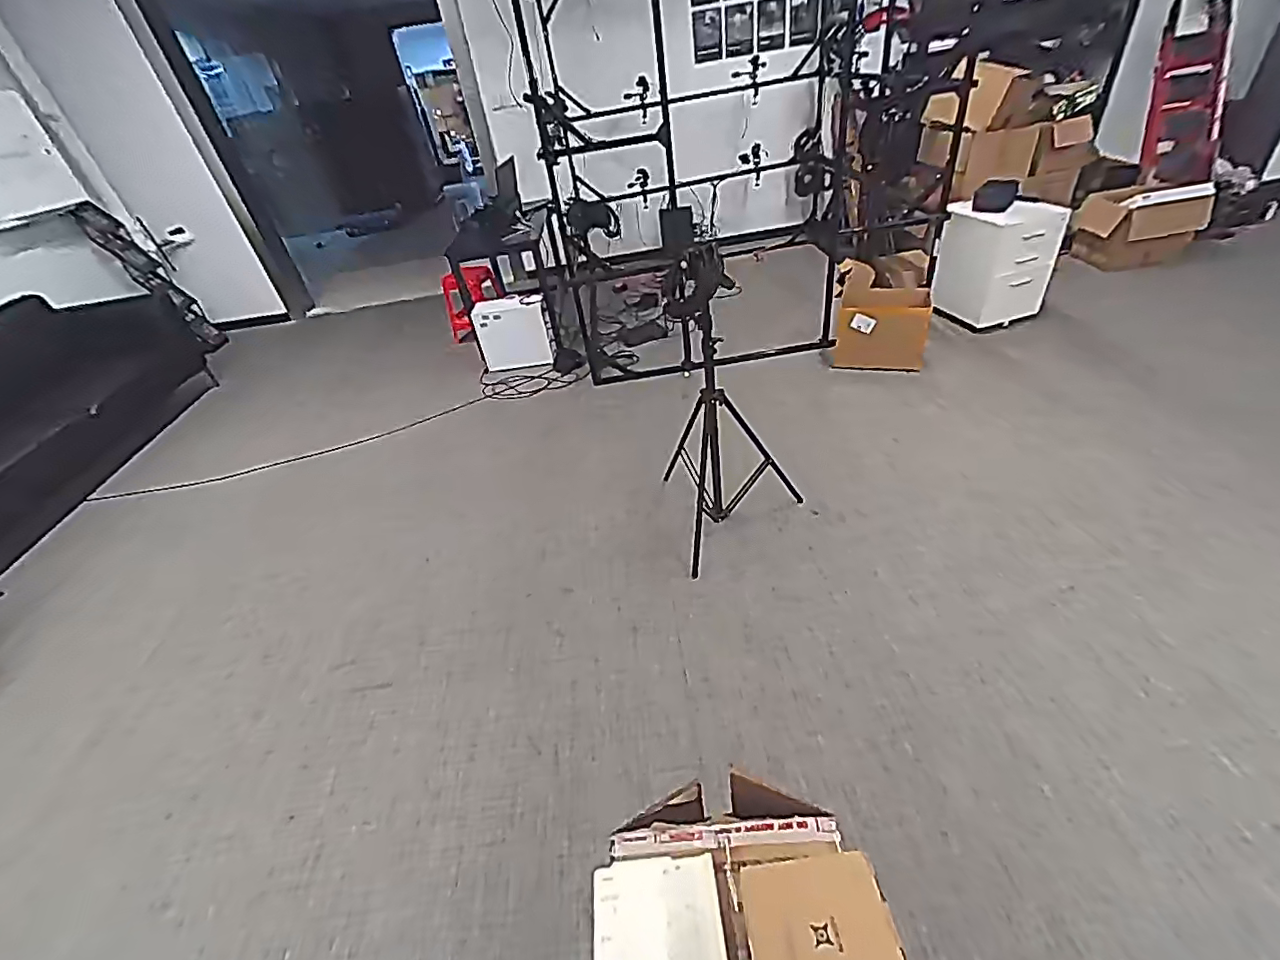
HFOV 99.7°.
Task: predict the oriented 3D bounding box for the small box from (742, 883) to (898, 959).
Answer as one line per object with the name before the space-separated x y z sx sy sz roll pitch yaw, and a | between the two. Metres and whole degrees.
small box | 0.237 0.658 0.705 0.179 0.176 0.168 -9 39 -1
